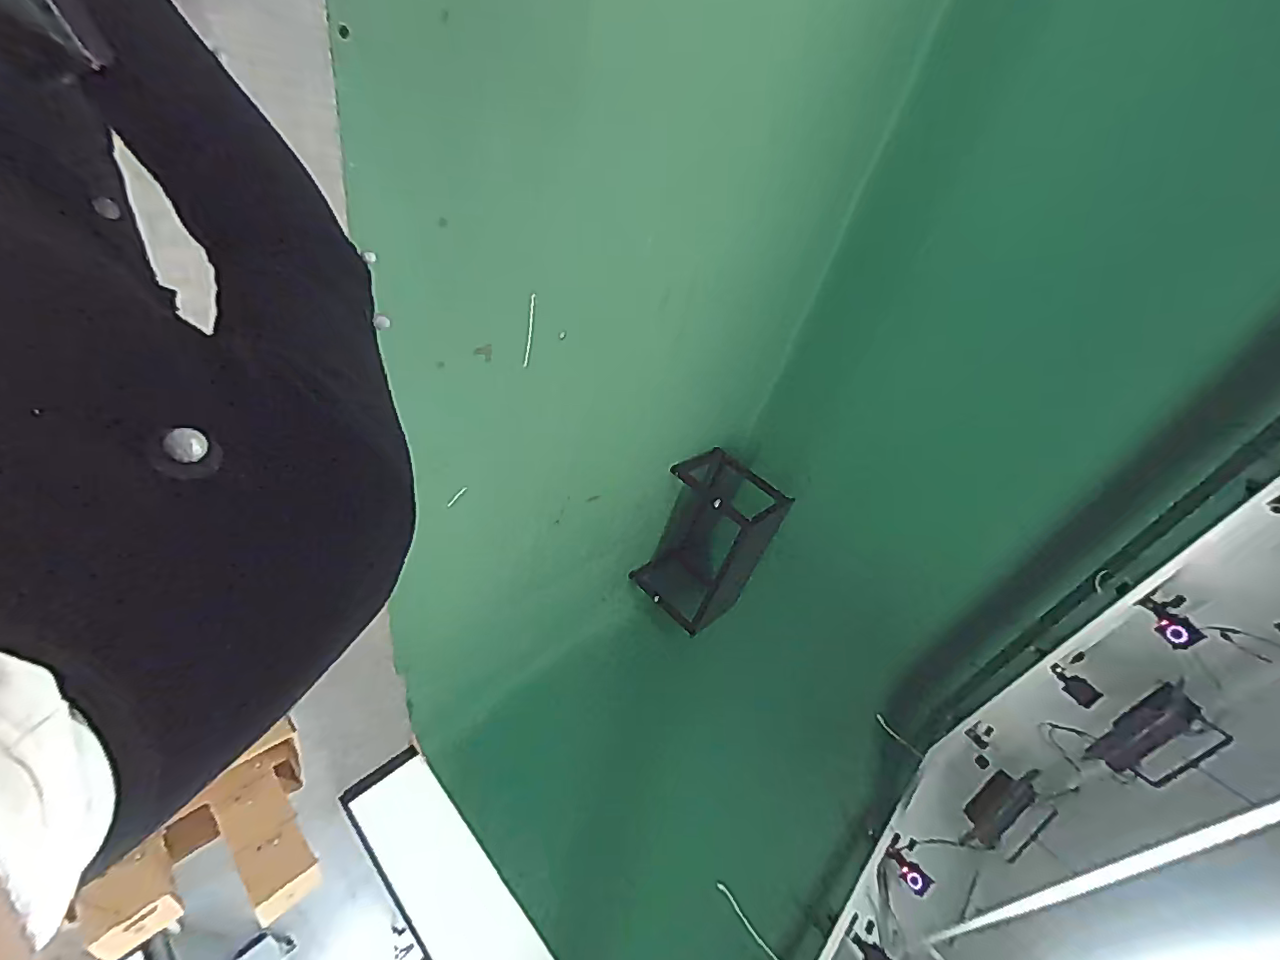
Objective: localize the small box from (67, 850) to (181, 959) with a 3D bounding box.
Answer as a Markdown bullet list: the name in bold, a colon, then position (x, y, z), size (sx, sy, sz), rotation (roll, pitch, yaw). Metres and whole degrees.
- **small box**: position (-1.369, 1.133, 1.436), size (0.168, 0.176, 0.179), rotation (-24, 143, -42)

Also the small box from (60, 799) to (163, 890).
- **small box**: position (-1.480, 1.043, 1.518), size (0.168, 0.176, 0.179), rotation (-21, 140, -45)

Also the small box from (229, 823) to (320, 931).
- **small box**: position (-1.059, 1.146, 1.570), size (0.168, 0.176, 0.179), rotation (-25, 144, -43)

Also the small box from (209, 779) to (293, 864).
- **small box**: position (-1.173, 1.055, 1.644), size (0.168, 0.176, 0.179), rotation (-25, 144, -43)
